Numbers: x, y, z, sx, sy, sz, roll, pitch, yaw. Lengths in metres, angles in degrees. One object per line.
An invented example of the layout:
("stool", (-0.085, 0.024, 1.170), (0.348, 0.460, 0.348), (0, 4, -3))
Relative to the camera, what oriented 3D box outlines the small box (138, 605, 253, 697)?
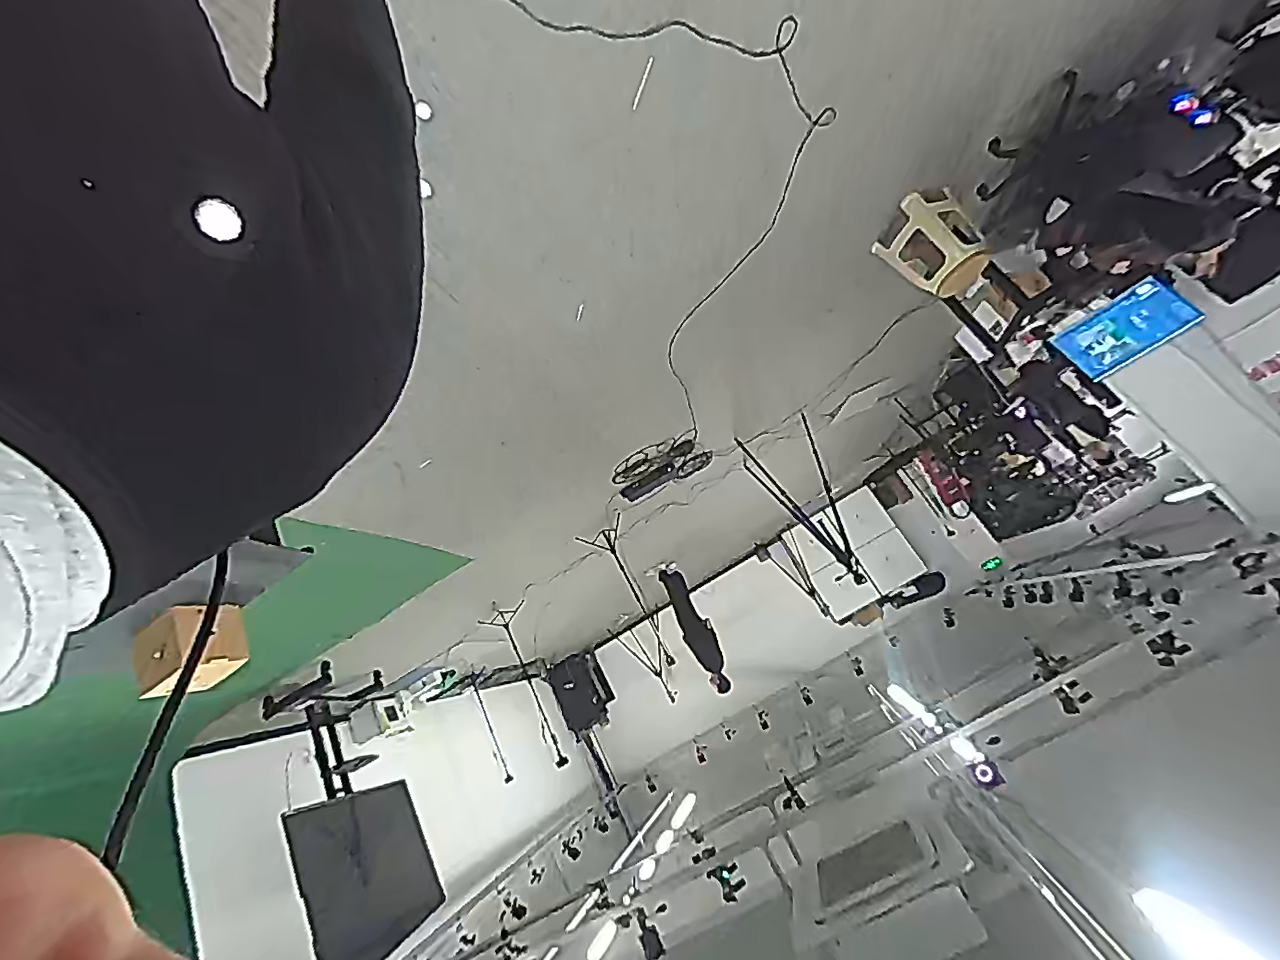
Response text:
("small box", (-1.184, 0.444, 1.434), (0.179, 0.176, 0.168), (-35, 159, 11))
